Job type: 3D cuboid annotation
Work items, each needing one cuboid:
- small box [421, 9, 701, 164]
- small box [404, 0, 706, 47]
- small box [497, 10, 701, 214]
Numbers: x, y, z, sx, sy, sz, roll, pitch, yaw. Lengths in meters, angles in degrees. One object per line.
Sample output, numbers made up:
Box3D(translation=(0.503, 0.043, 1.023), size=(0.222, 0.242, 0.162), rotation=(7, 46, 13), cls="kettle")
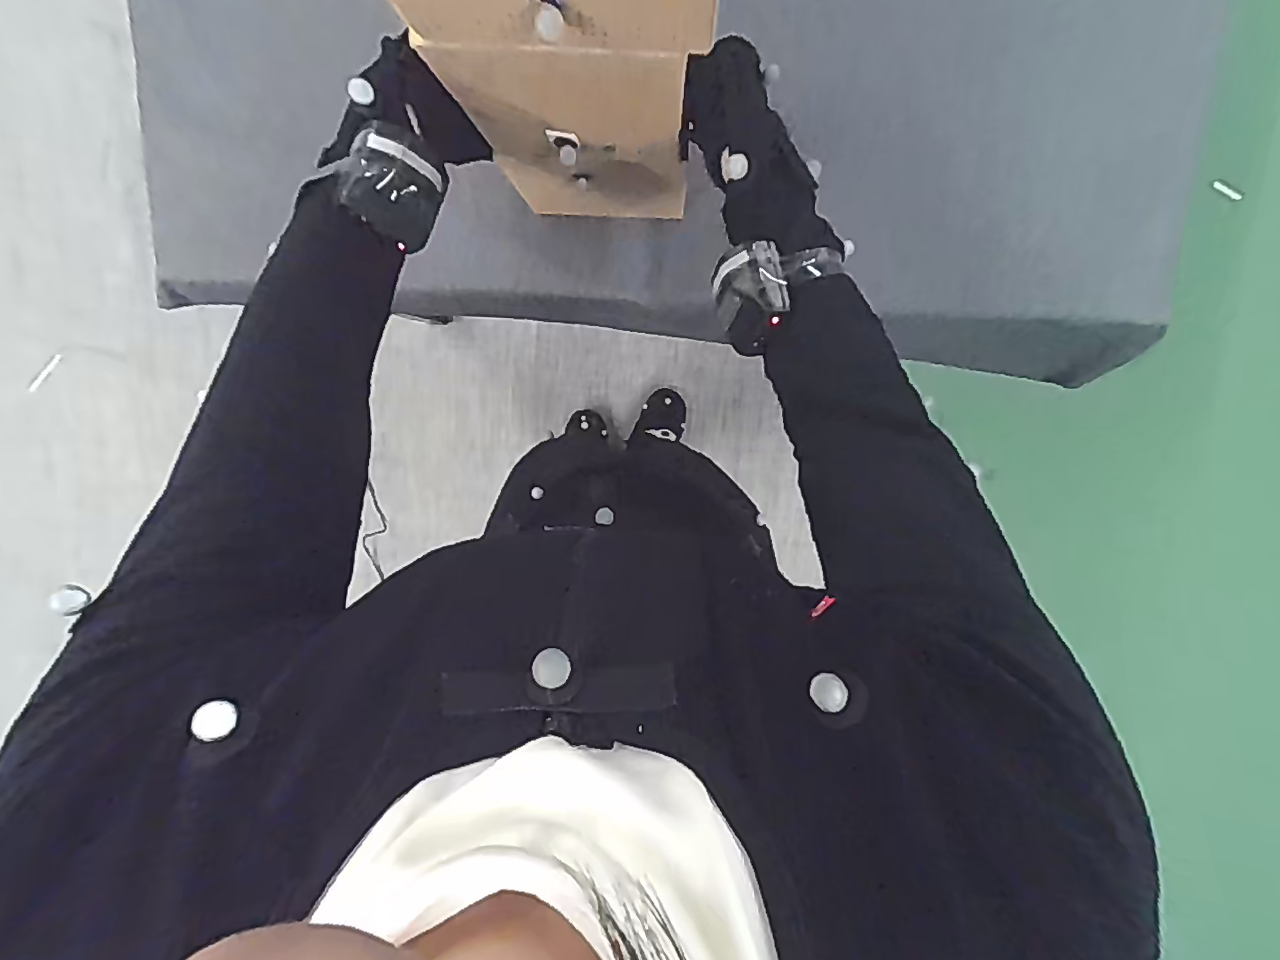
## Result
Box3D(translation=(-0.040, -0.357, 0.387), size=(0.168, 0.176, 0.179), rotation=(4, 101, 4), cls="small box")
Box3D(translation=(-0.043, -0.323, 0.227), size=(0.179, 0.176, 0.168), rotation=(4, 100, 3), cls="small box")
Box3D(translation=(-0.033, -0.382, 0.546), size=(0.179, 0.176, 0.168), rotation=(3, 100, 2), cls="small box")
